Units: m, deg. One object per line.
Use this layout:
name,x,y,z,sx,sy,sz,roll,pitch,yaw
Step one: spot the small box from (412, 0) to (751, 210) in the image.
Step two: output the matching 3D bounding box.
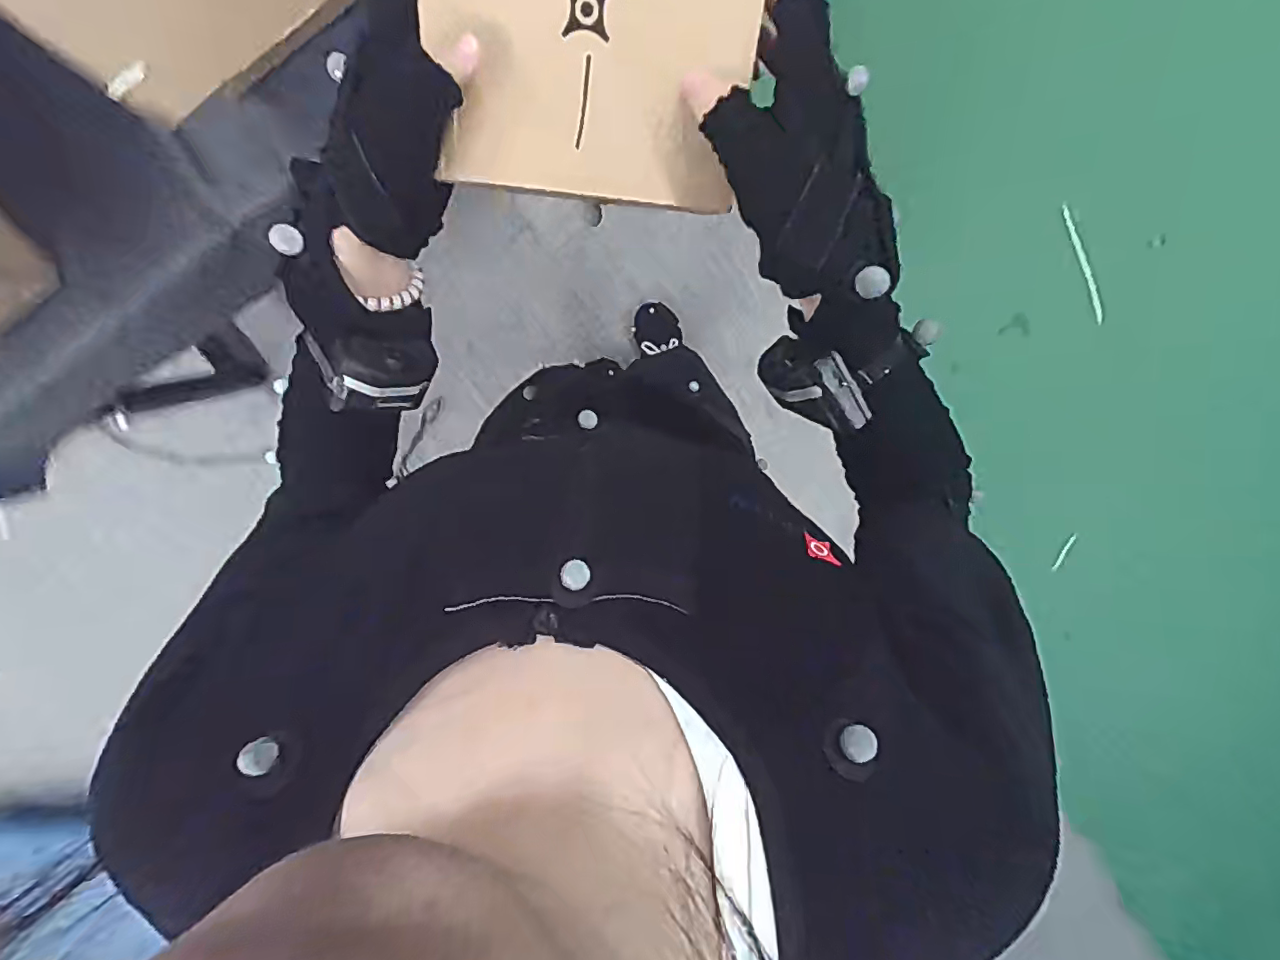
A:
small box,-0.027,-0.272,0.331,0.168,0.176,0.179,6,117,-1
